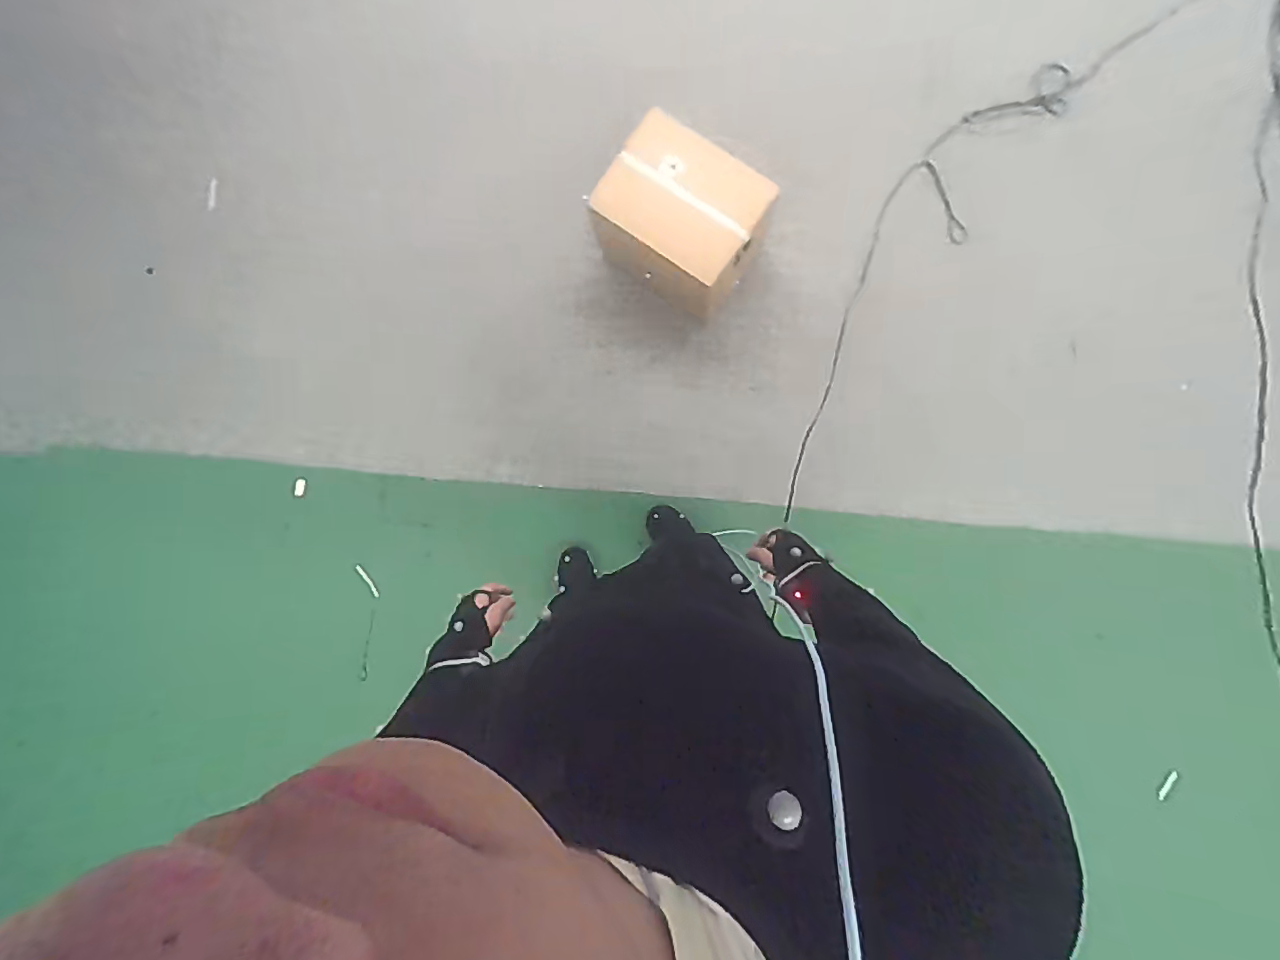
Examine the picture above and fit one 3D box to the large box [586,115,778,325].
[{"bbox_3d":[0.121,-0.711,1.535,0.408,0.320,0.320,36,90,7],"label":"large box"}]
